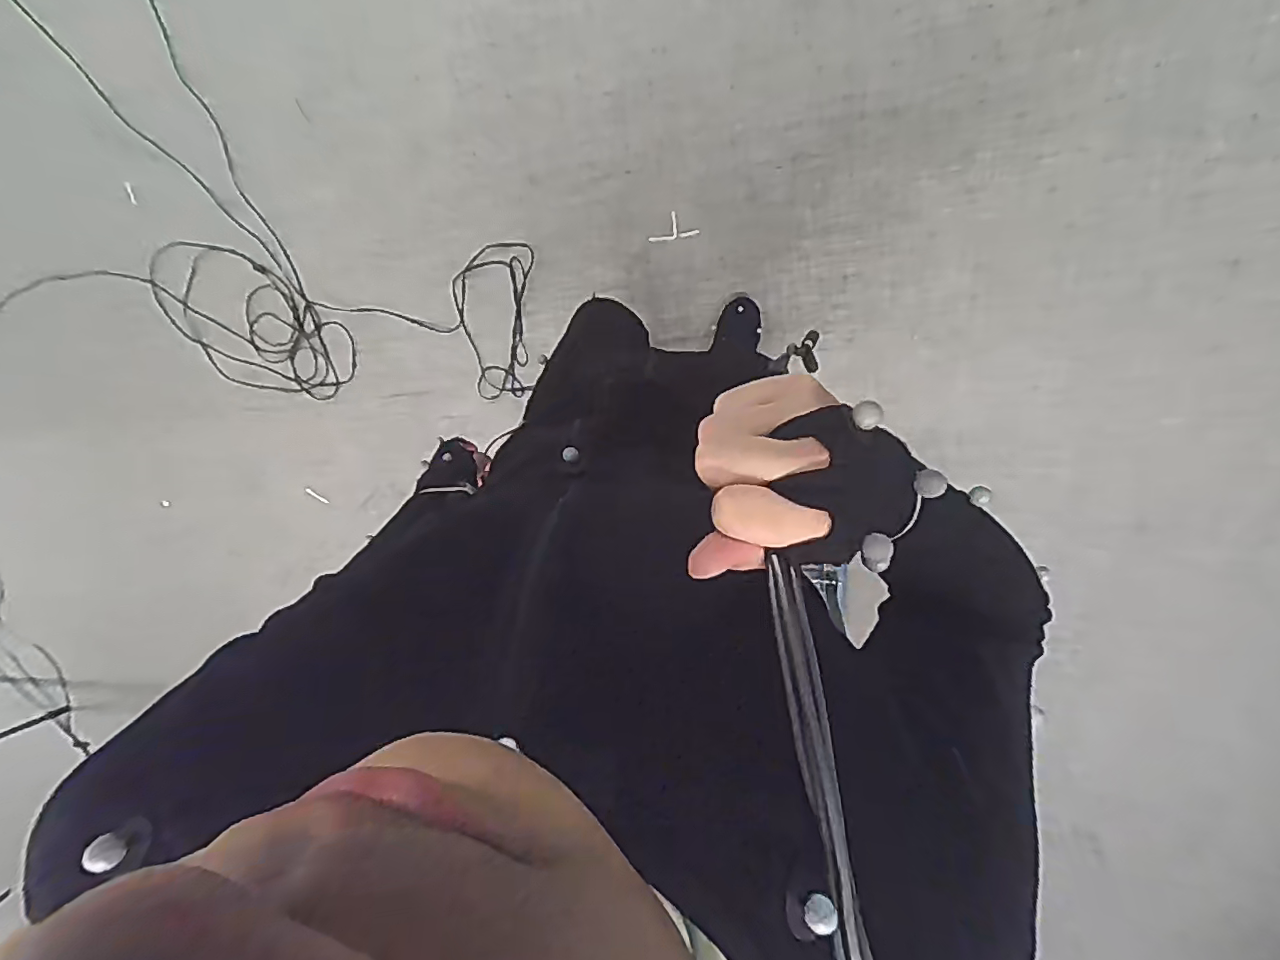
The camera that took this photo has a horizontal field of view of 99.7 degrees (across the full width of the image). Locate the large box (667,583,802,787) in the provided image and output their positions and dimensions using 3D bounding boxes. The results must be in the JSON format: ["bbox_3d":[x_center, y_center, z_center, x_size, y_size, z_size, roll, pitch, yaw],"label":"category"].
[{"bbox_3d":[0.249,0.539,1.476,0.320,0.320,0.408,5,111,10],"label":"large box"}]
